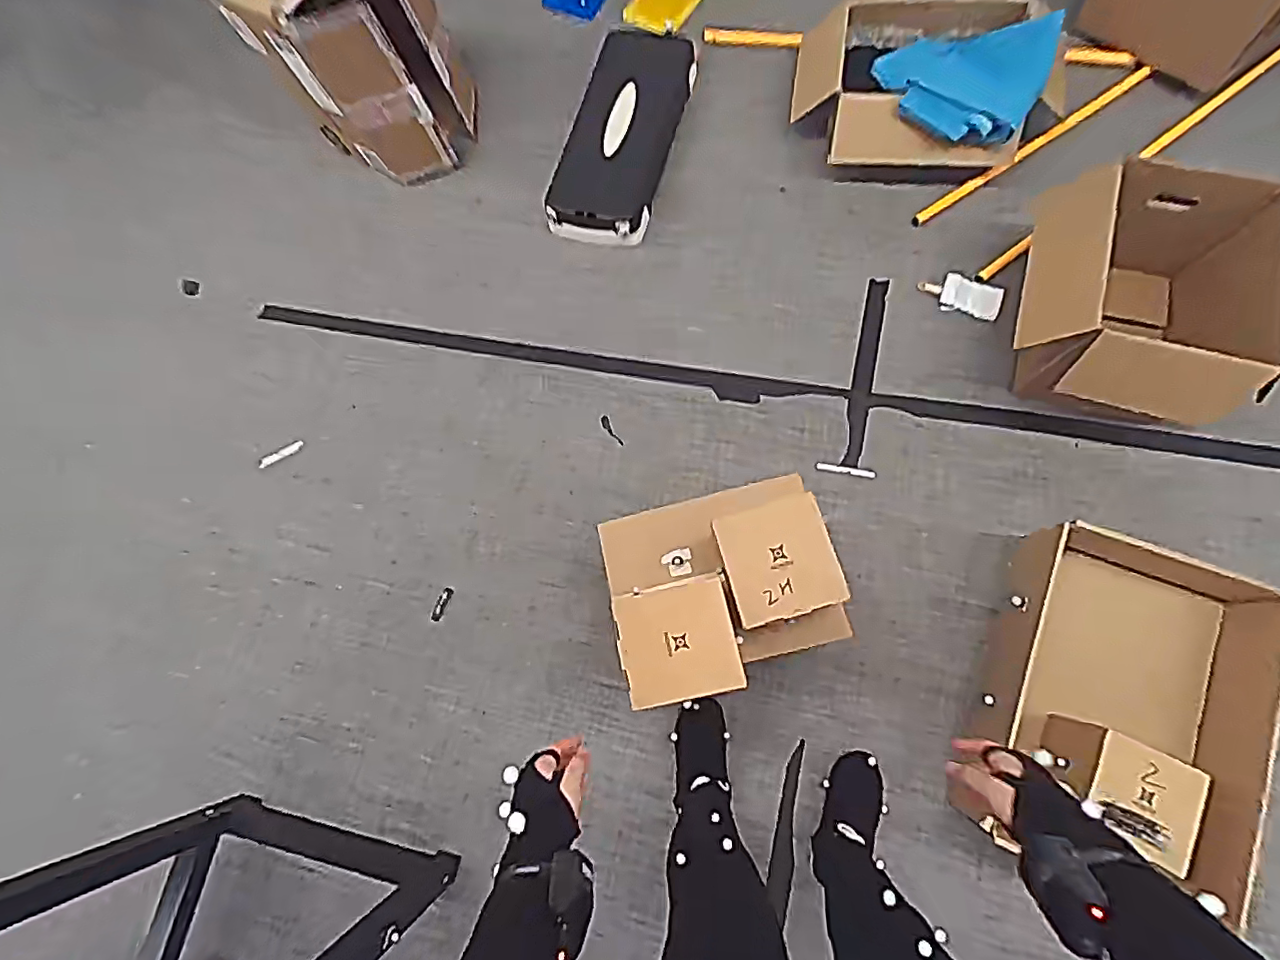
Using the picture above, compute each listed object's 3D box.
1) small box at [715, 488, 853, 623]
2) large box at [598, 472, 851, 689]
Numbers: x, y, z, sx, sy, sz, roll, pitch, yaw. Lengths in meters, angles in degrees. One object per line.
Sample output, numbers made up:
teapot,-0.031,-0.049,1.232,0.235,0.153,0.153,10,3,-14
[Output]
small box,0.223,0.132,0.893,0.168,0.176,0.179,-17,75,4
large box,0.165,0.213,1.137,0.408,0.320,0.320,-16,74,4
